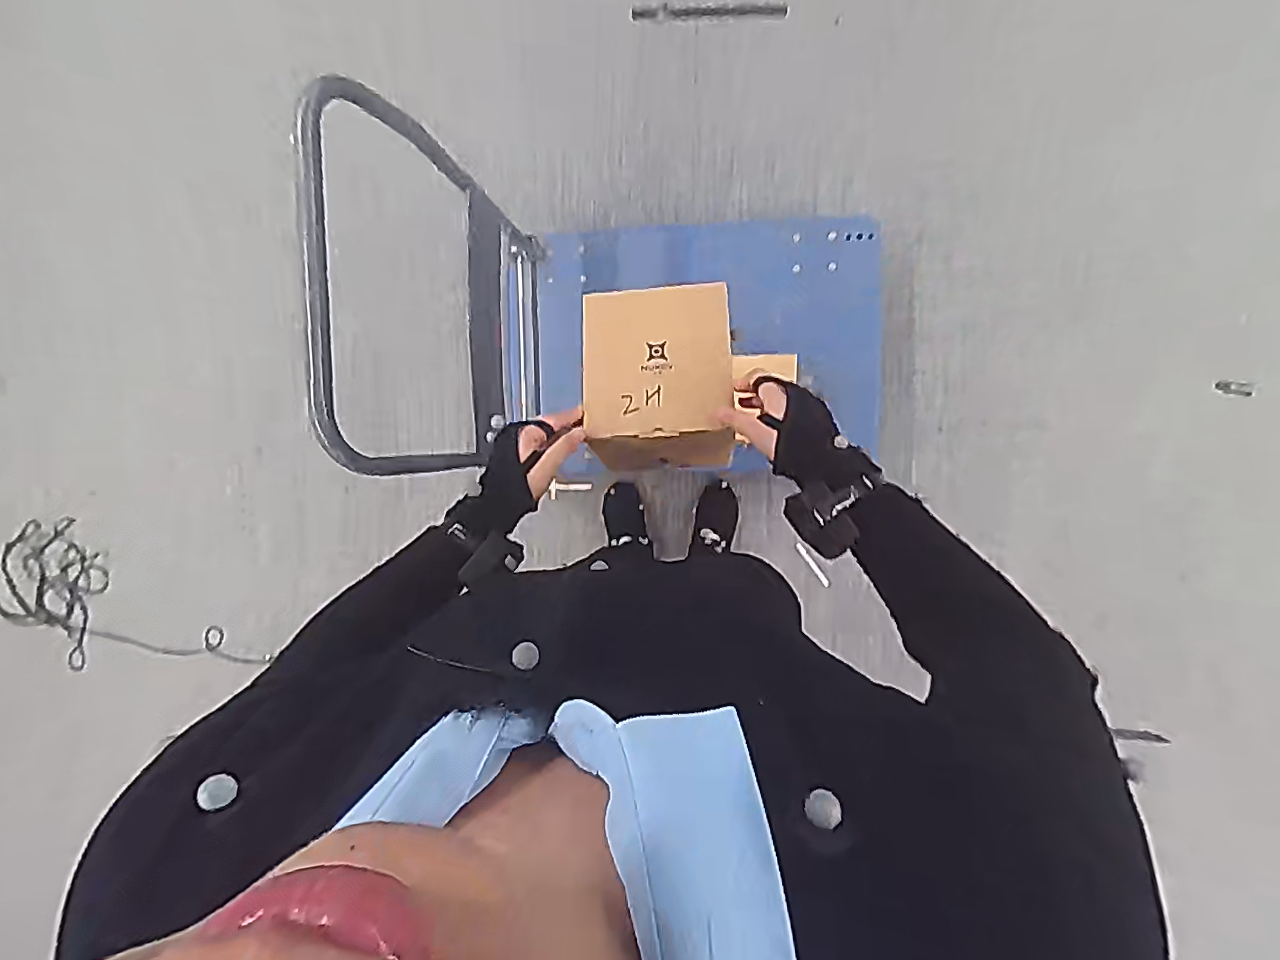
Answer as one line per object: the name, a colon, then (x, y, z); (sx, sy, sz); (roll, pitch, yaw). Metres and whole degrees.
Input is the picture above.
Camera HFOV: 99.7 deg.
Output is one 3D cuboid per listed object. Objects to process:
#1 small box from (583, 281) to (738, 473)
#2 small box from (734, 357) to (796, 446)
small box: (0.028, -0.114, 0.660); (0.168, 0.176, 0.179); (-3, 79, 7)
small box: (0.244, -0.165, 1.186); (0.168, 0.176, 0.179); (-1, 93, 5)
